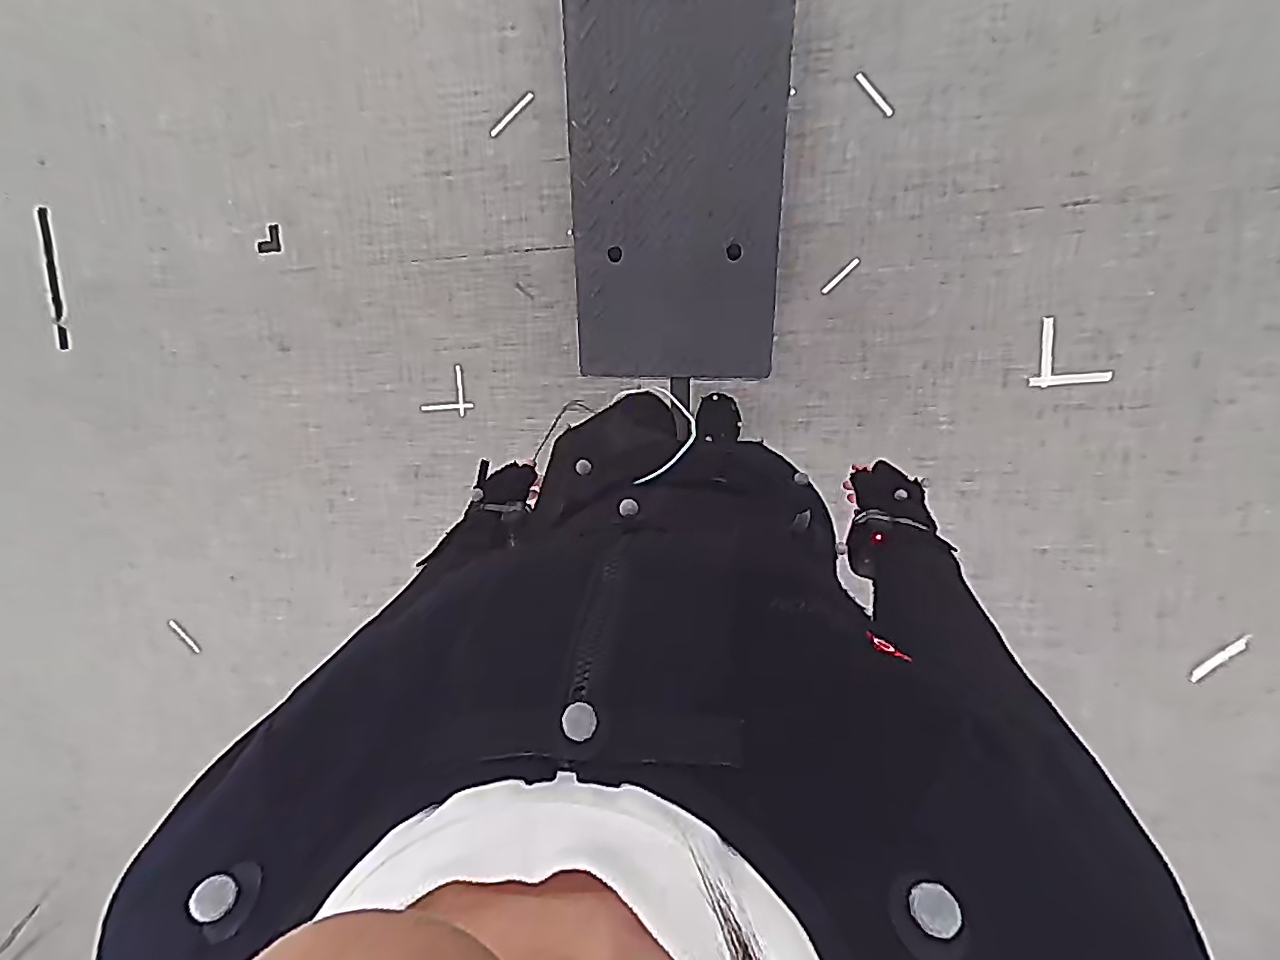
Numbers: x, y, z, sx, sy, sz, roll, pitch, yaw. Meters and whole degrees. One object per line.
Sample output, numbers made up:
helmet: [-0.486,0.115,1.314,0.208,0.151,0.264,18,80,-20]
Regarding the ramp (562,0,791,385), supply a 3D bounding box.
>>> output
ramp: [0.087,-0.723,1.250,0.509,0.206,0.991,-1,99,8]
